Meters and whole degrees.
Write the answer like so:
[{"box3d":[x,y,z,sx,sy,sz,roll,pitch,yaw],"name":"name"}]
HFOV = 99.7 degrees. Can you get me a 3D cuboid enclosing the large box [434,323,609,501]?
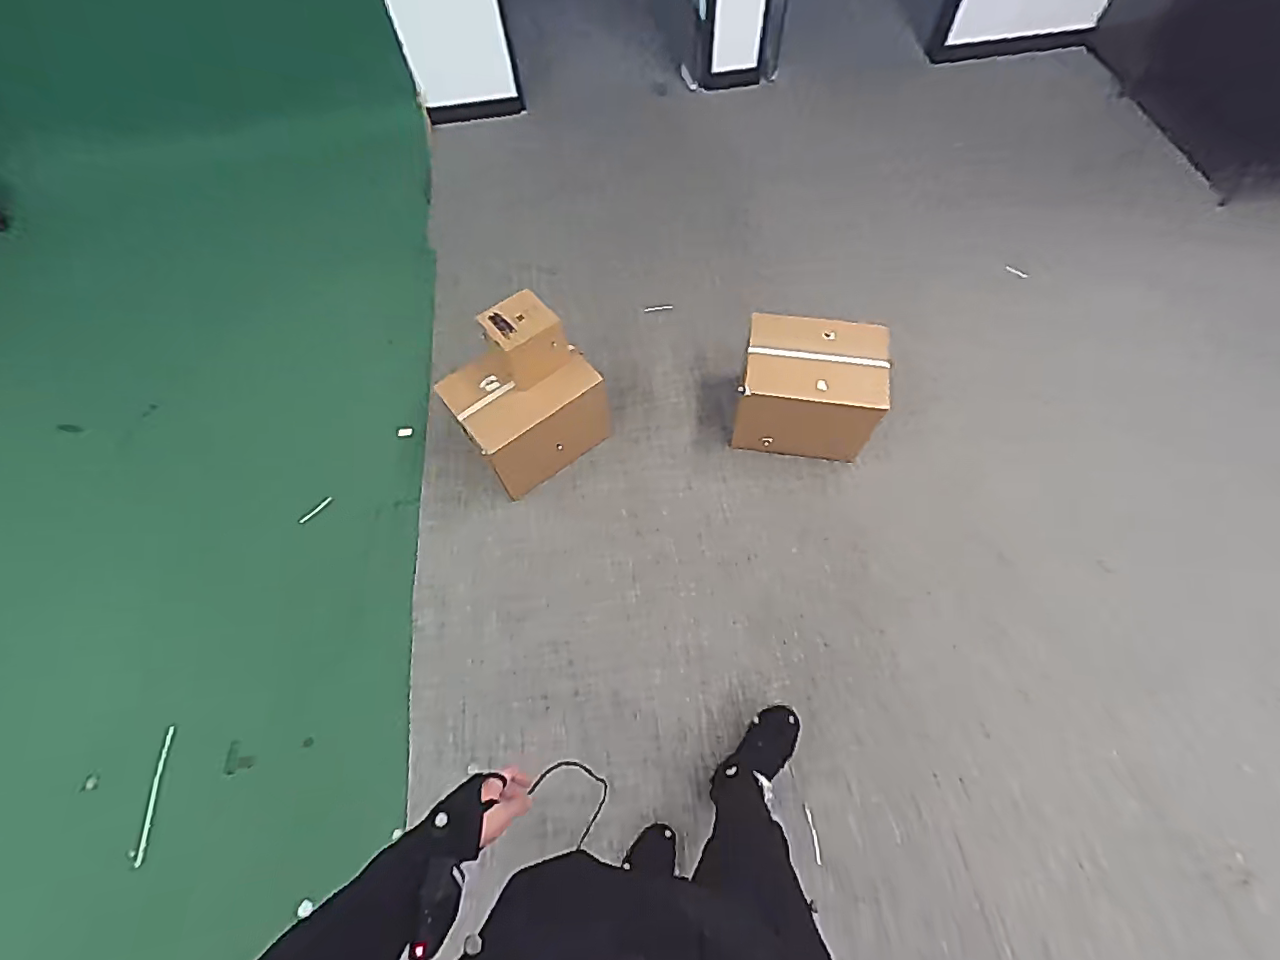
[{"box3d":[-0.353,-0.209,1.714,0.408,0.320,0.320,-37,67,-15],"name":"large box"}]
